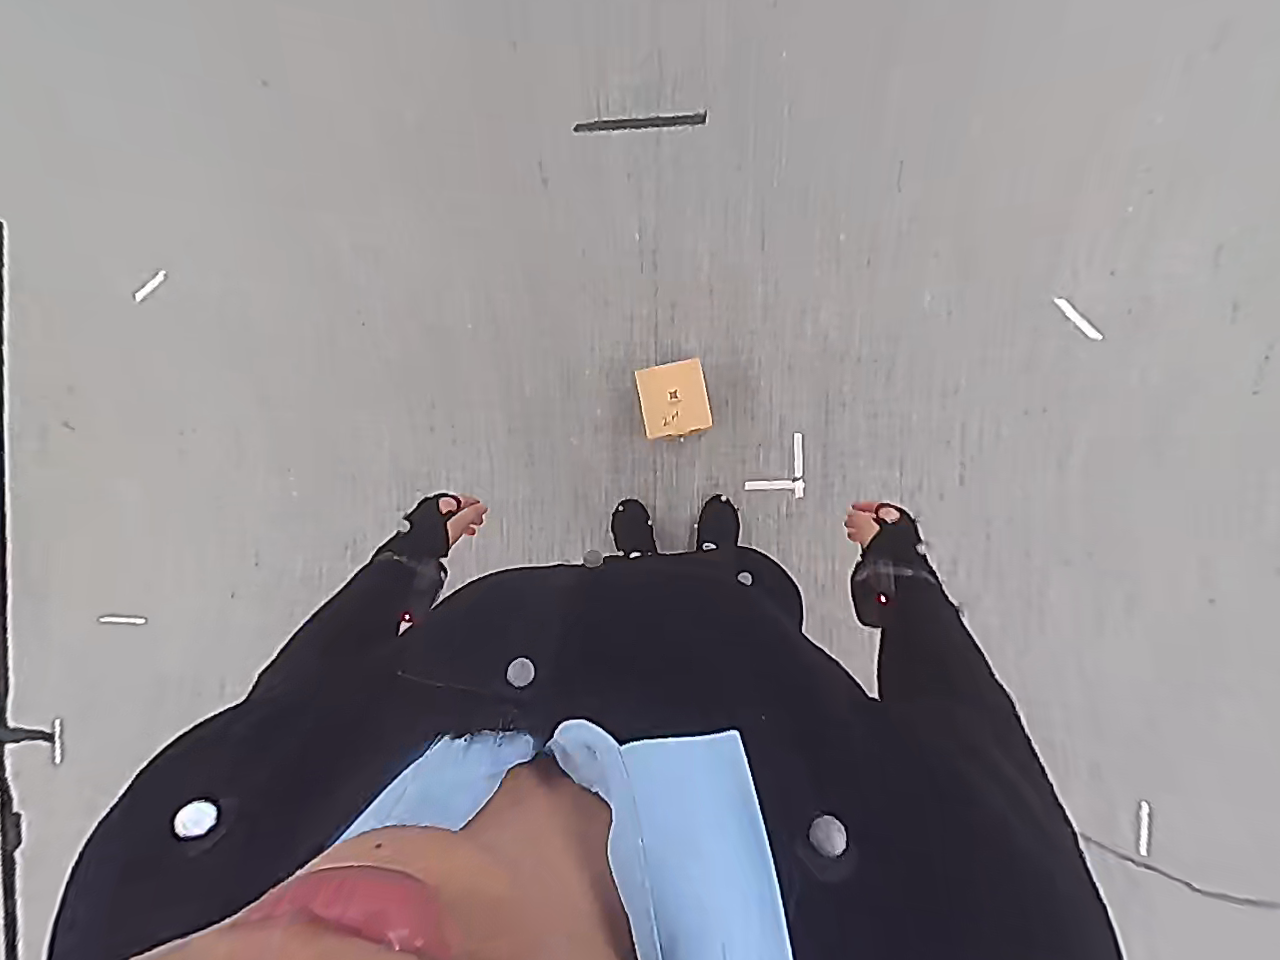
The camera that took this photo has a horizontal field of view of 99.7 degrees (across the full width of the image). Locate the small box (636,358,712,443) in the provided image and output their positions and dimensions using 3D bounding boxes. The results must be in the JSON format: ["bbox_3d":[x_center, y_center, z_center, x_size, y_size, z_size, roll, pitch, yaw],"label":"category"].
[{"bbox_3d":[0.088,-0.199,1.401,0.168,0.176,0.179,-11,90,6],"label":"small box"}]
